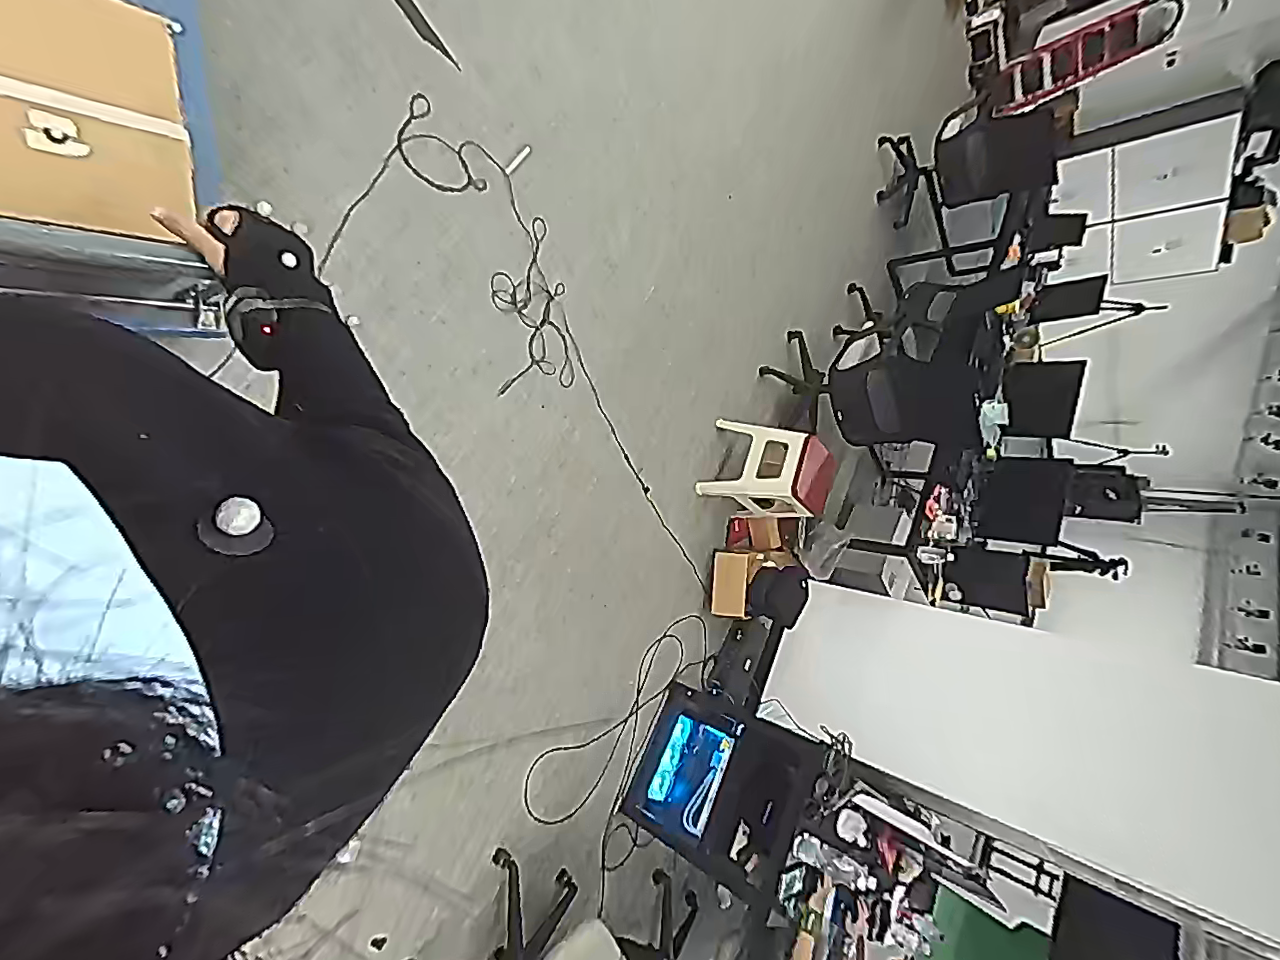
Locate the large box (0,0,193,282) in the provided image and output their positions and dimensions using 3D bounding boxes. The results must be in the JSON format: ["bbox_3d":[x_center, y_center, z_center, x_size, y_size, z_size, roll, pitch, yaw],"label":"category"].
[{"bbox_3d":[-0.924,-0.485,0.751,0.408,0.320,0.320,-10,102,-47],"label":"large box"}]
